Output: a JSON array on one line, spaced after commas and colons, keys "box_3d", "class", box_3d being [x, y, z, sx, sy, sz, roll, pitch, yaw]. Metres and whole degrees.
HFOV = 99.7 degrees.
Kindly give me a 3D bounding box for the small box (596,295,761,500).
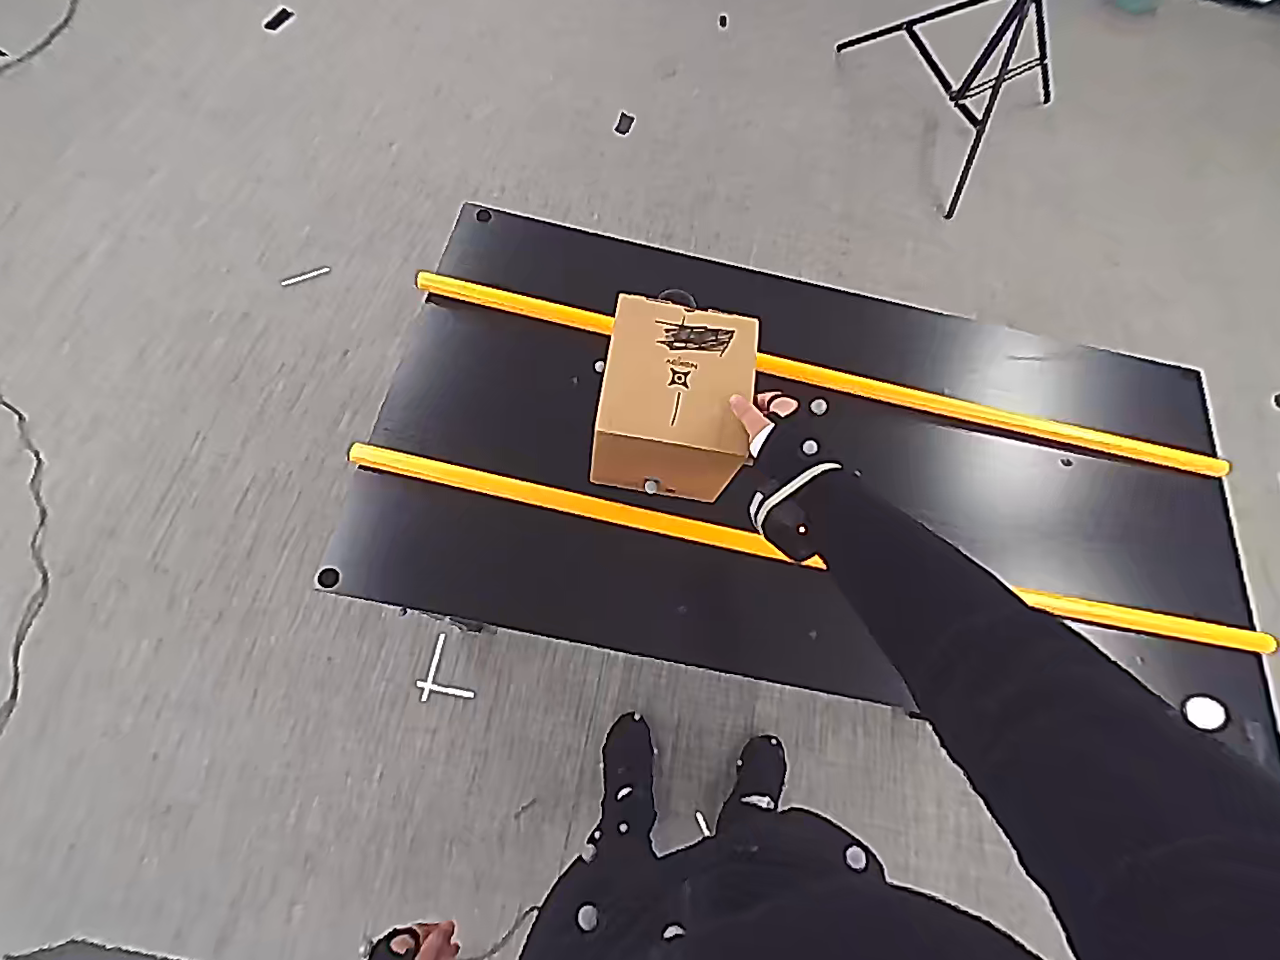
[{"box_3d": [0.040, -0.091, 0.667, 0.168, 0.176, 0.179, 10, 70, -2], "class": "small box"}]
